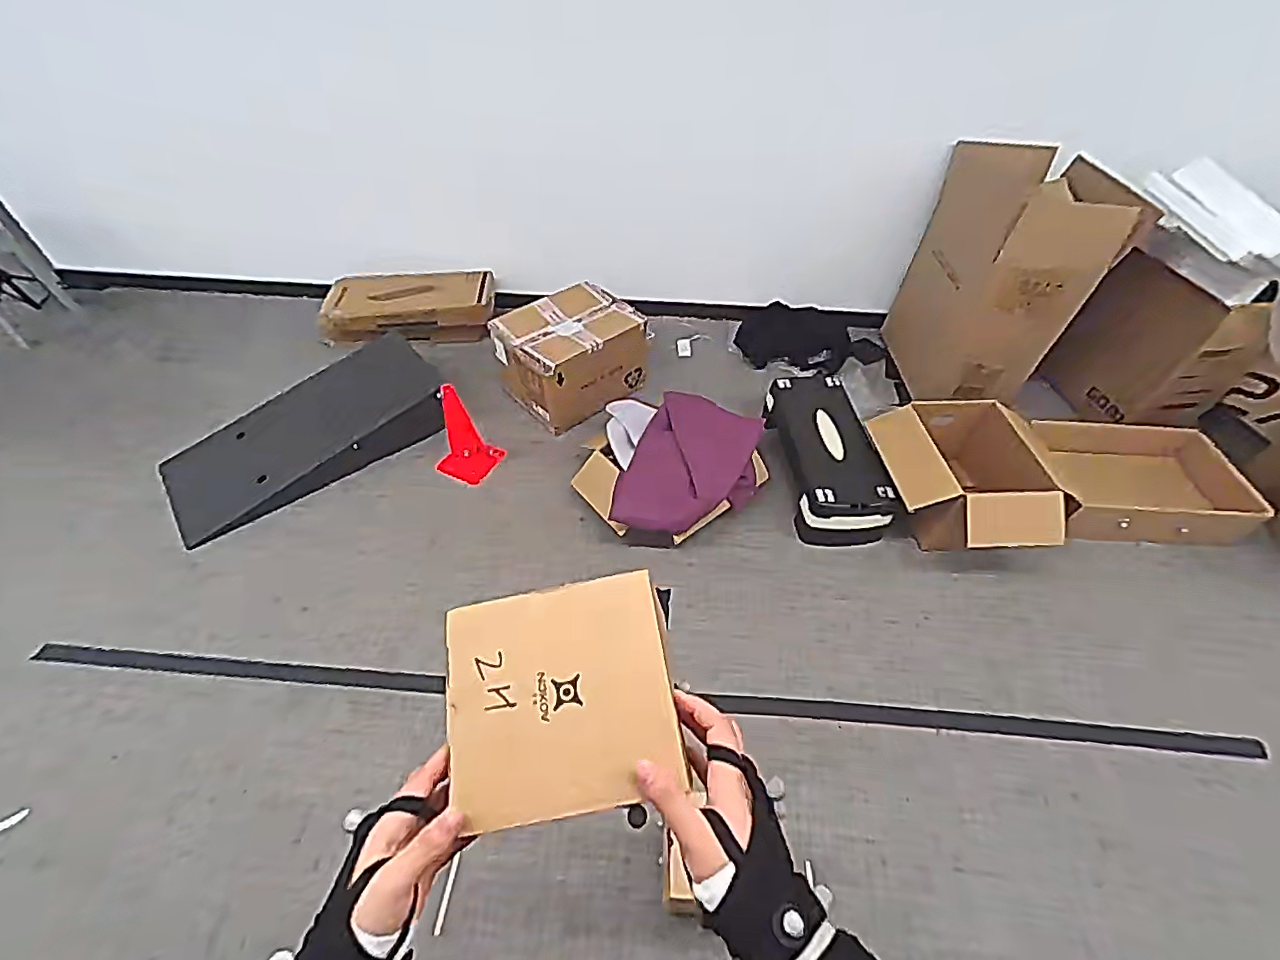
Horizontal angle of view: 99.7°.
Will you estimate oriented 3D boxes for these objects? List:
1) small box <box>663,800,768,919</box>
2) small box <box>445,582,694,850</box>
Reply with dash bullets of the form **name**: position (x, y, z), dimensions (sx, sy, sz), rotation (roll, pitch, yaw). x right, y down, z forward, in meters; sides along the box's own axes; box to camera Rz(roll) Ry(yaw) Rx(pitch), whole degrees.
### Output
- **small box**: position (0.134, 0.723, 1.028), dimensions (0.179, 0.176, 0.168), rotation (3, 48, 0)
- **small box**: position (-0.052, 0.203, 0.476), dimensions (0.179, 0.176, 0.168), rotation (-11, 62, 2)
